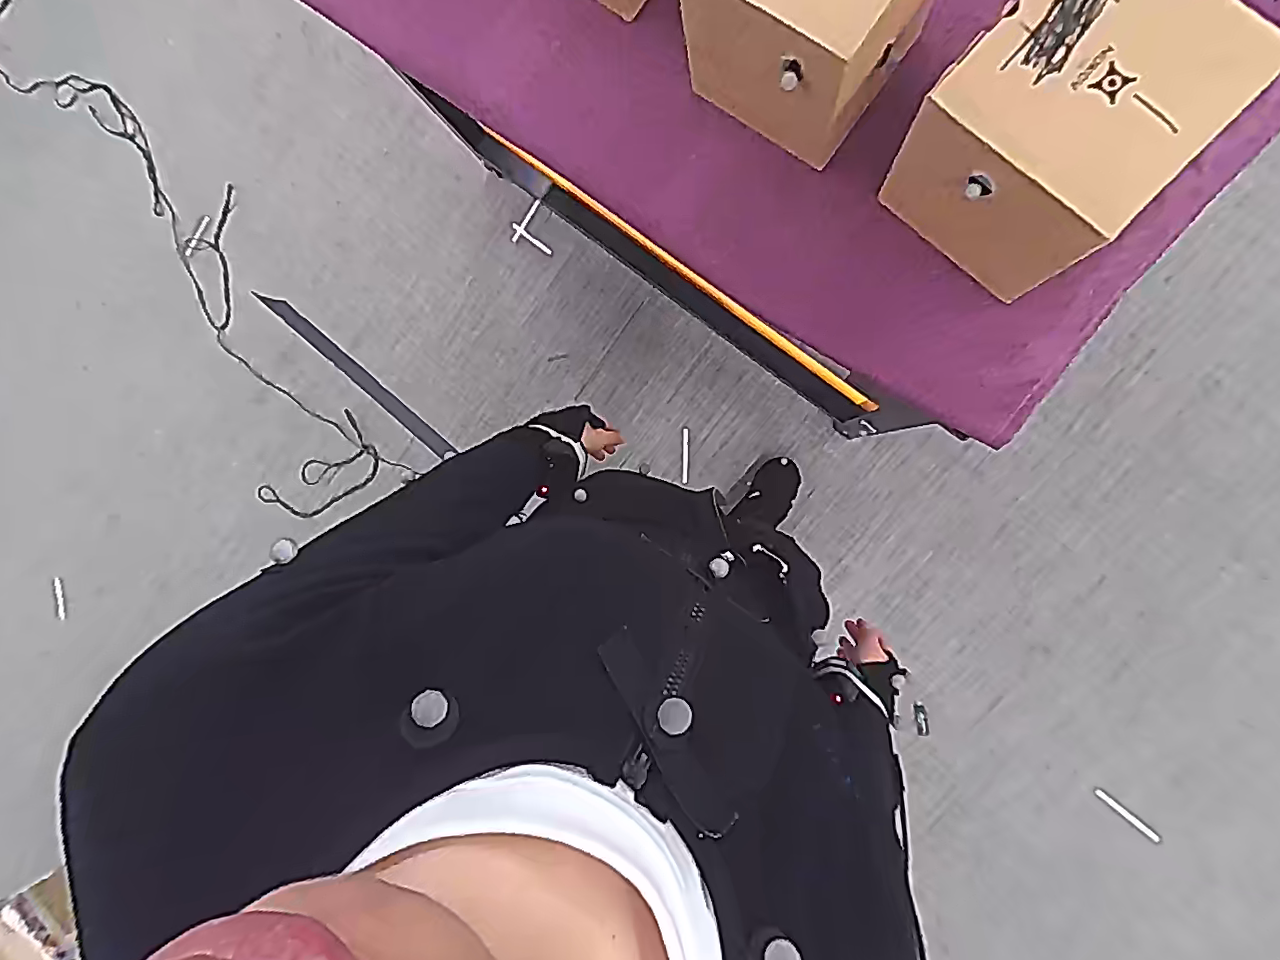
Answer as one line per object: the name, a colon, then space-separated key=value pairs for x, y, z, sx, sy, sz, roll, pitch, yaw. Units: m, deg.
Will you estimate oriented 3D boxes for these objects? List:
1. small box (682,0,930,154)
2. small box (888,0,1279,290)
small box: x=0.160 y=-0.447 z=0.502 sx=0.179 sy=0.176 sz=0.168 roll=38 pitch=98 yaw=8
small box: x=0.350 y=-0.296 z=0.468 sx=0.179 sy=0.176 sz=0.168 roll=44 pitch=99 yaw=7
